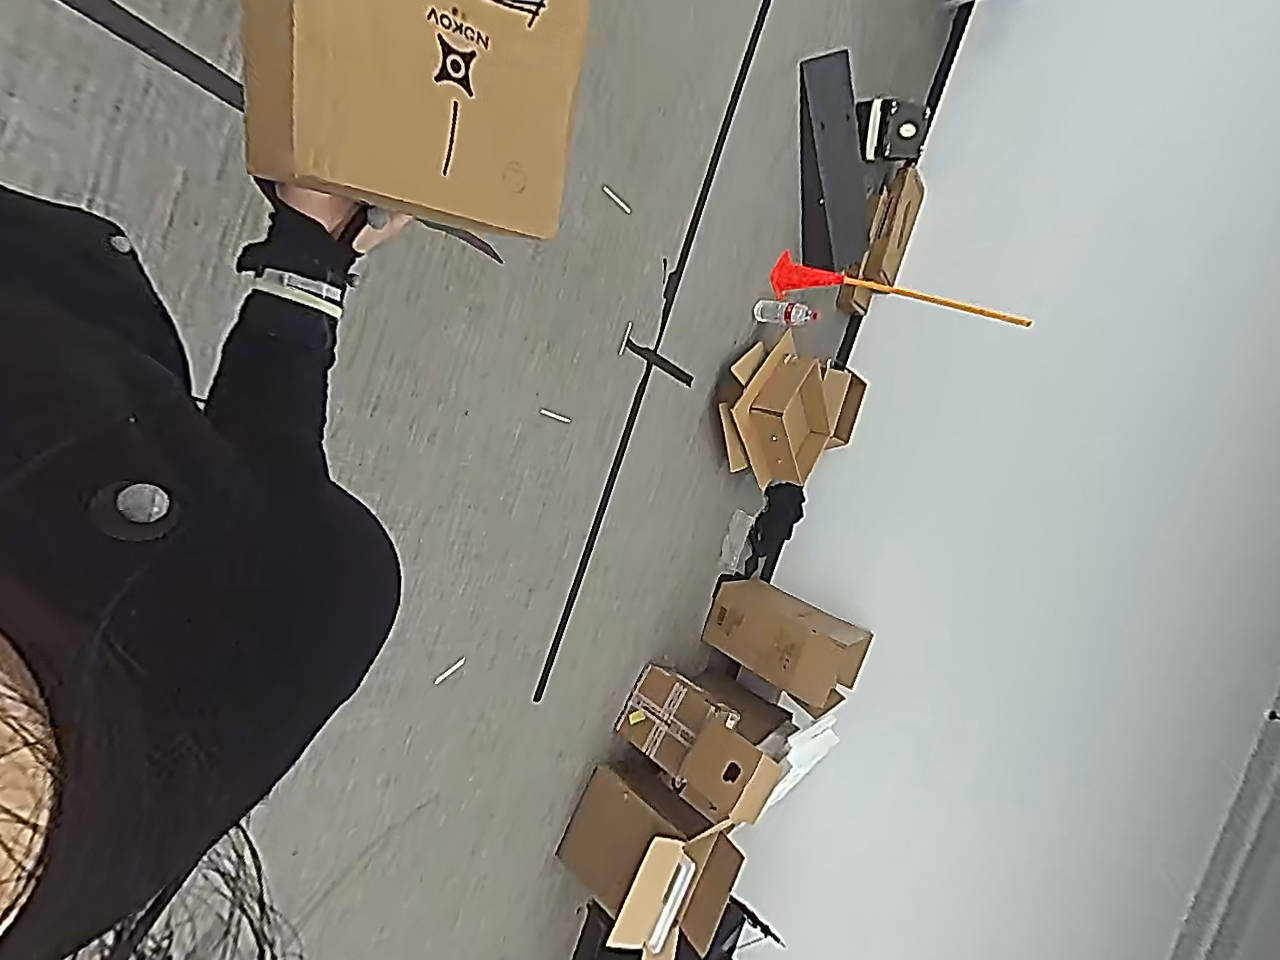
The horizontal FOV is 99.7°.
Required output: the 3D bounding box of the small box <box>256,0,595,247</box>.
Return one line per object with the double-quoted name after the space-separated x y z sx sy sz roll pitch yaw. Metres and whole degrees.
-0.155 -0.278 0.375 0.168 0.176 0.179 -6 116 -42 "small box"
